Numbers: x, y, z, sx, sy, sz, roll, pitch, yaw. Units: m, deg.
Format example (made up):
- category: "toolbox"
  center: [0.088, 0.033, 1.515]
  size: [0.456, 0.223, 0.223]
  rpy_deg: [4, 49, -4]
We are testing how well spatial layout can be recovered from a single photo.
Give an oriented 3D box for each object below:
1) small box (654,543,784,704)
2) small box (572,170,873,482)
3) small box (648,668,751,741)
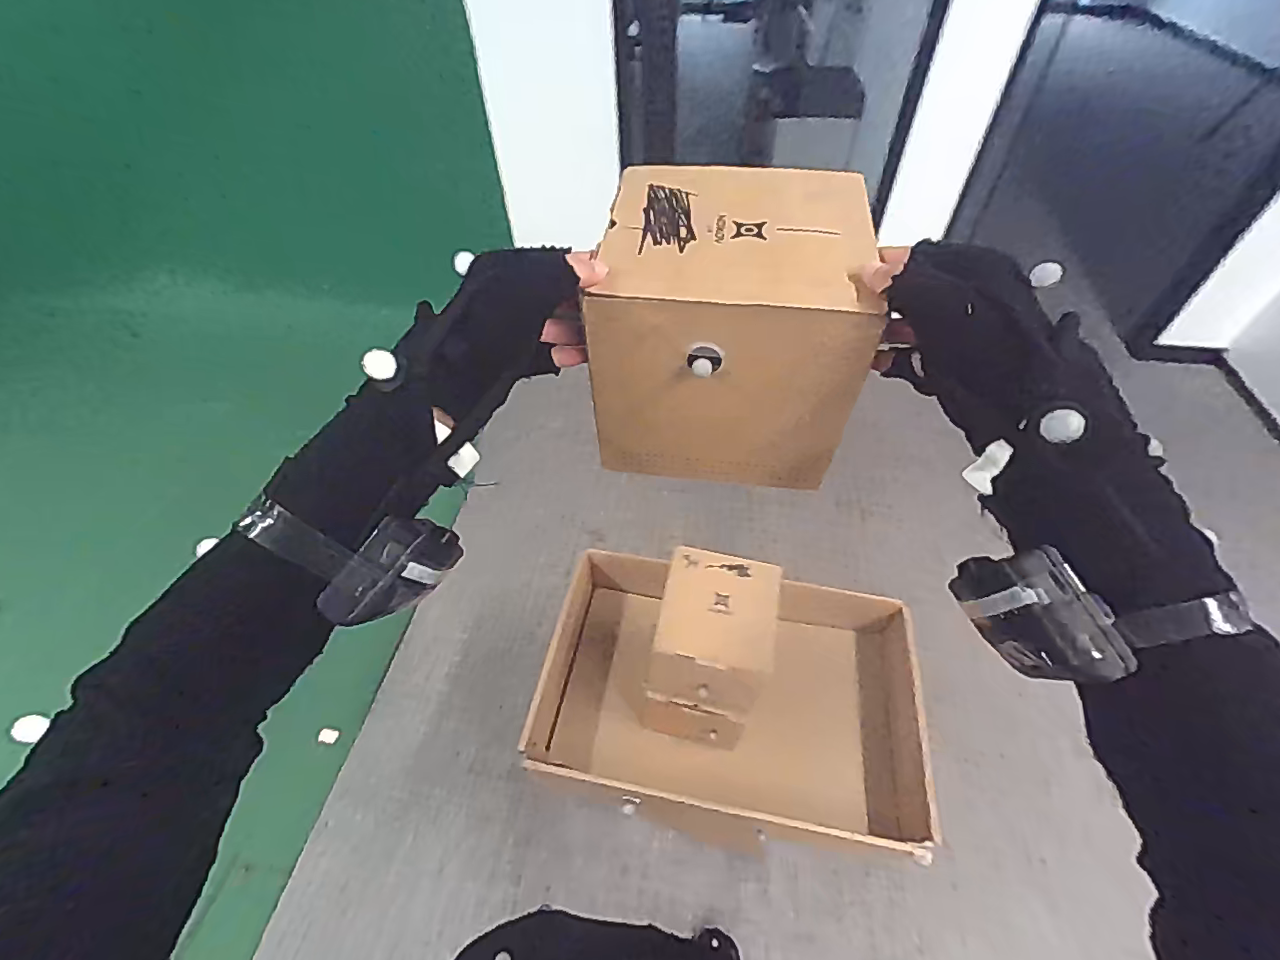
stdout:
- category: "small box"
  center: [0.118, 0.228, 0.843]
  size: [0.168, 0.176, 0.179]
  rpy_deg: [11, 52, 7]
- category: "small box"
  center: [0.059, -0.114, 0.419]
  size: [0.179, 0.176, 0.168]
  rpy_deg: [6, 54, 6]
- category: "small box"
  center: [0.112, 0.340, 0.963]
  size: [0.168, 0.176, 0.179]
  rpy_deg: [12, 49, 8]
